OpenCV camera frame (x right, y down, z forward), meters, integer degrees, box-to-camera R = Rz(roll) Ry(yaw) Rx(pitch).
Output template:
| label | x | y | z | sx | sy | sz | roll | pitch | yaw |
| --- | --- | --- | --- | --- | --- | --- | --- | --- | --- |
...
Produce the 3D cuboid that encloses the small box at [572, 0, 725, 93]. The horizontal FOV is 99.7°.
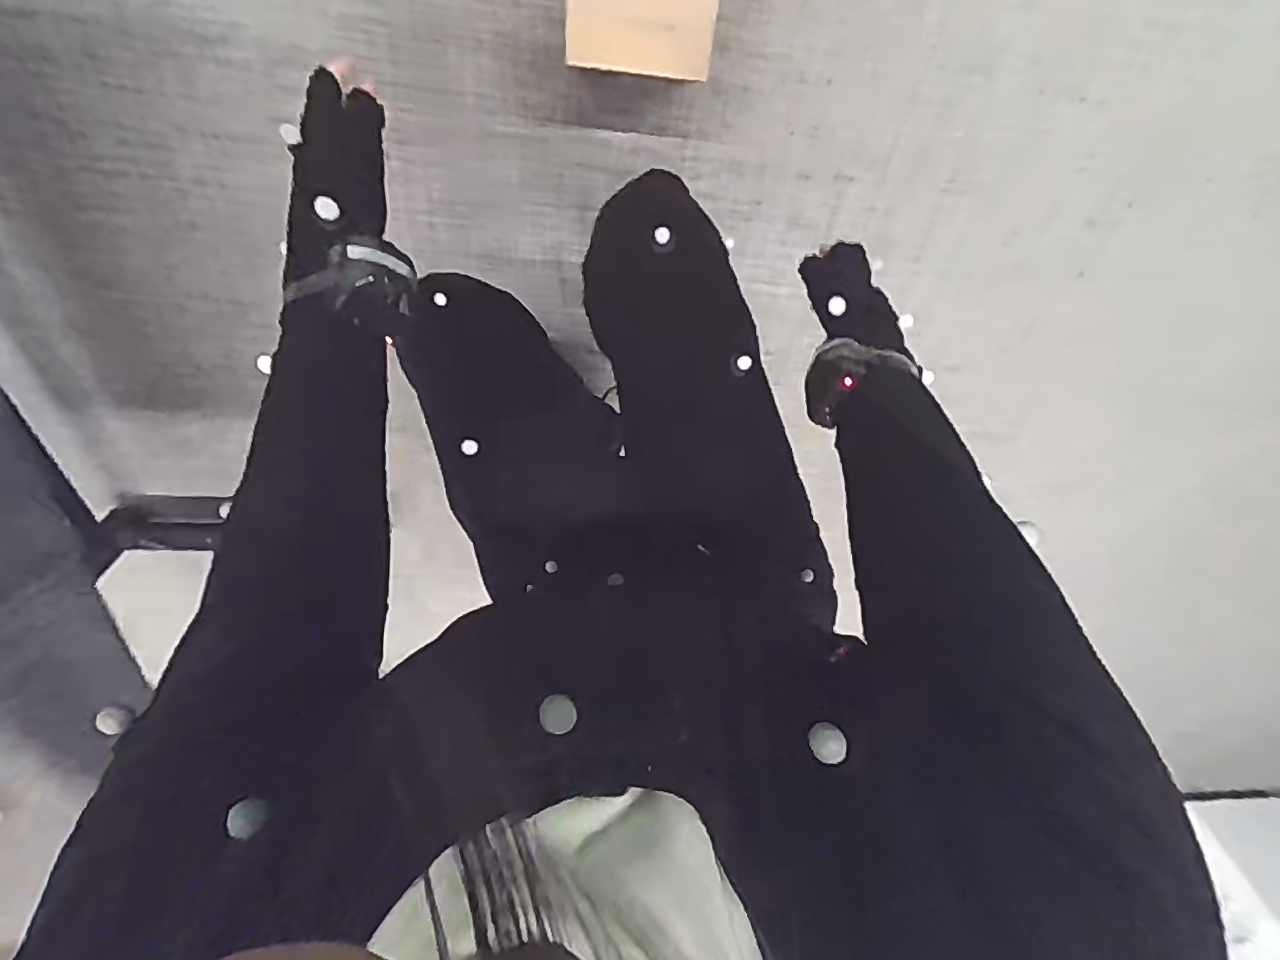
| label | x | y | z | sx | sy | sz | roll | pitch | yaw |
| --- | --- | --- | --- | --- | --- | --- | --- | --- | --- |
| small box | 0.009 | -0.579 | 0.638 | 0.168 | 0.176 | 0.179 | 4 | 130 | -5 |
